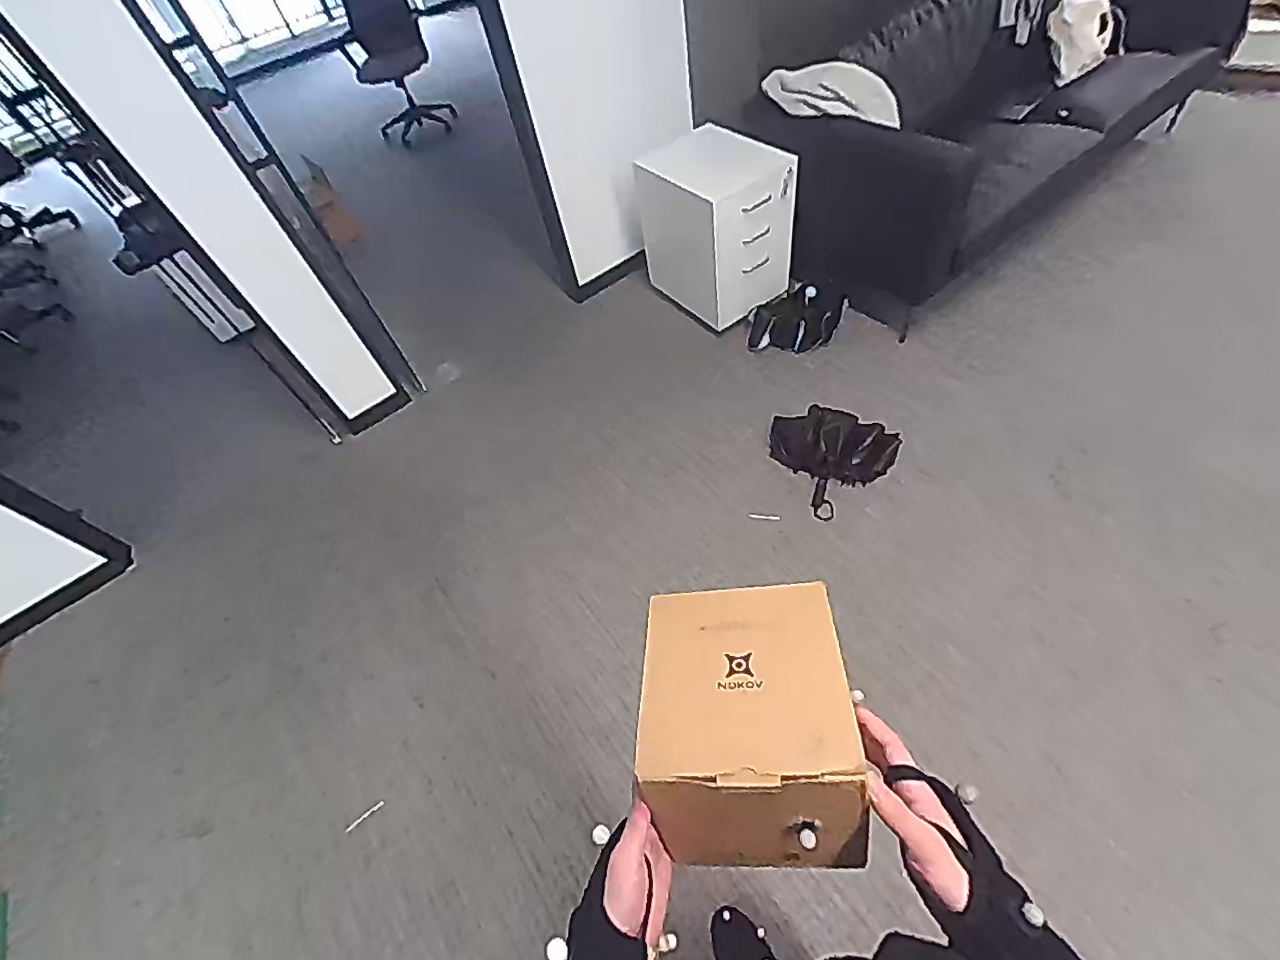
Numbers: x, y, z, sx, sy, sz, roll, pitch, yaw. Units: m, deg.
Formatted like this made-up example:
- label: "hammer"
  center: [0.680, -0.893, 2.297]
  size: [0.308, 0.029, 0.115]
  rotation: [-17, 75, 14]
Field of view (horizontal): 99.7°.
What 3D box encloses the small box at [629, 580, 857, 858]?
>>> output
- label: "small box"
  center: [0.094, 0.216, 0.492]
  size: [0.168, 0.176, 0.179]
  rotation: [-6, 36, 11]
